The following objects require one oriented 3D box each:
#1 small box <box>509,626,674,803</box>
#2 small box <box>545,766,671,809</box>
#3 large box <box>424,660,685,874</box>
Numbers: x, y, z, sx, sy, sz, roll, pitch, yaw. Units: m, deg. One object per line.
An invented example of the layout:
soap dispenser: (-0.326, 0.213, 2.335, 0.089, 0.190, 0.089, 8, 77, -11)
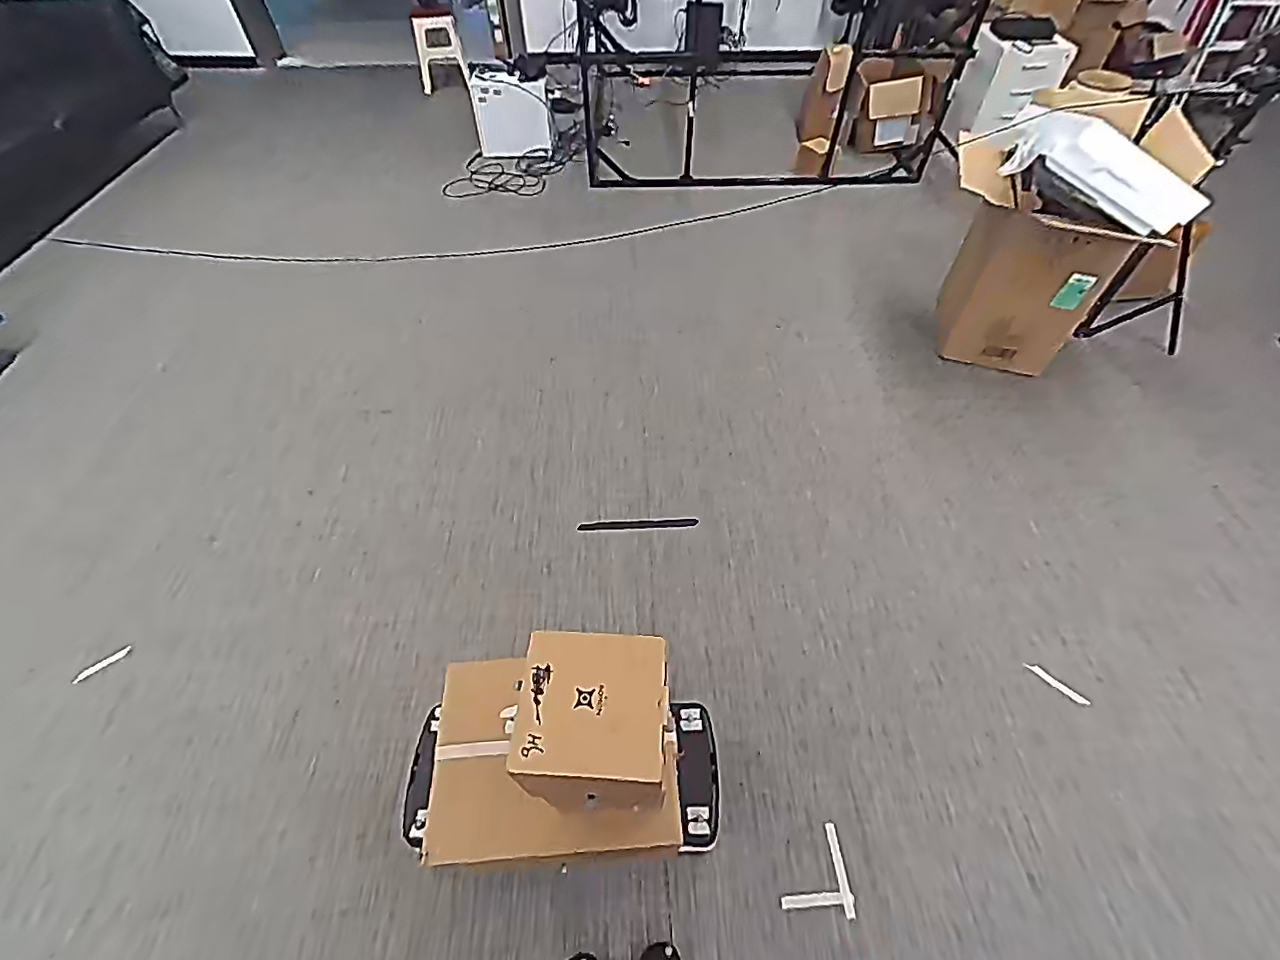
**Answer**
small box: (-0.052, 0.305, 0.695, 0.179, 0.176, 0.168, 4, 51, 2)
small box: (-0.046, 0.398, 0.831, 0.179, 0.176, 0.168, -1, 52, 0)
large box: (-0.137, 0.541, 1.030, 0.408, 0.320, 0.320, -4, 51, -2)
